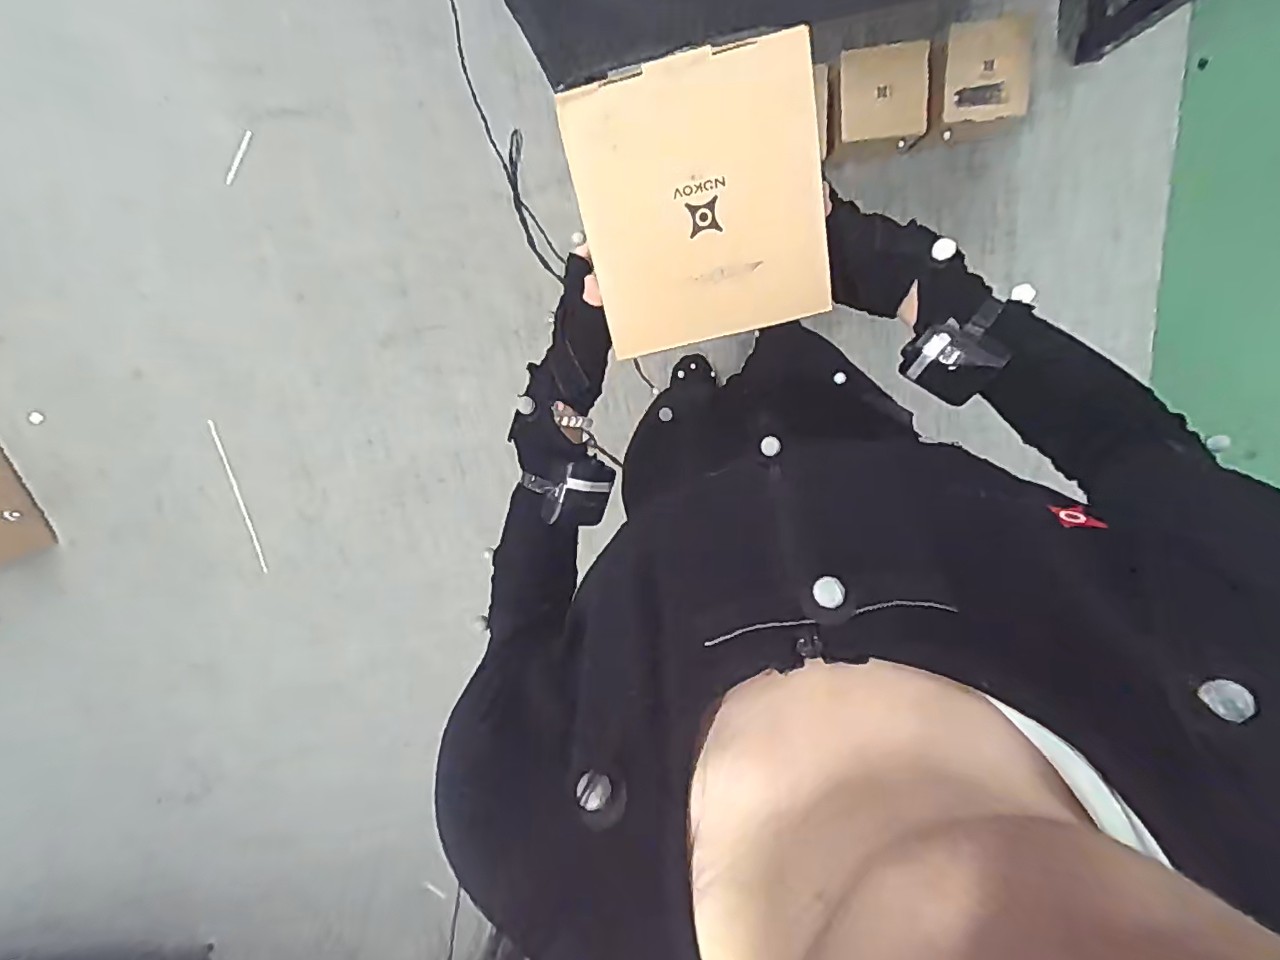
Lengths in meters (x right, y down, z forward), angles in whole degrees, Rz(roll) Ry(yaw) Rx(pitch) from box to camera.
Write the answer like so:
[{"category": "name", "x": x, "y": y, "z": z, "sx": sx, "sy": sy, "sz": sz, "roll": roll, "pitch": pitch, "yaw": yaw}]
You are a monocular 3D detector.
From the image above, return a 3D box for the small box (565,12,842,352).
[{"category": "small box", "x": 0.046, "y": -0.216, "z": 0.432, "sx": 0.168, "sy": 0.176, "sz": 0.179, "roll": -12, "pitch": 113, "yaw": 4}]
